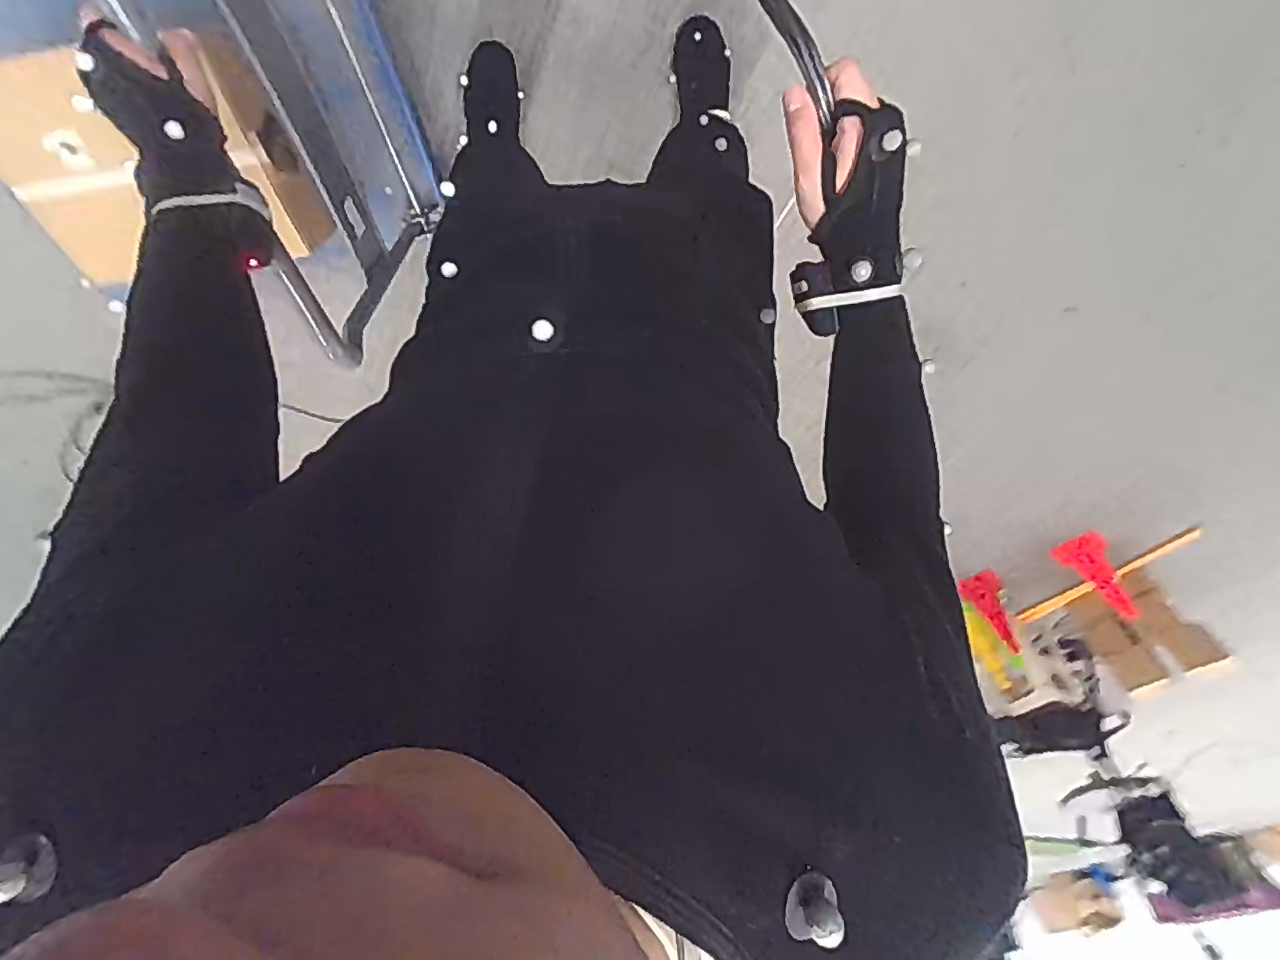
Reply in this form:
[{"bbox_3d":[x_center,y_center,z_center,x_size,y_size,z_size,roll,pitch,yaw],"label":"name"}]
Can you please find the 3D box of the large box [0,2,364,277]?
[{"bbox_3d":[-0.784,-0.591,0.943,0.408,0.320,0.320,-6,134,2],"label":"large box"}]
